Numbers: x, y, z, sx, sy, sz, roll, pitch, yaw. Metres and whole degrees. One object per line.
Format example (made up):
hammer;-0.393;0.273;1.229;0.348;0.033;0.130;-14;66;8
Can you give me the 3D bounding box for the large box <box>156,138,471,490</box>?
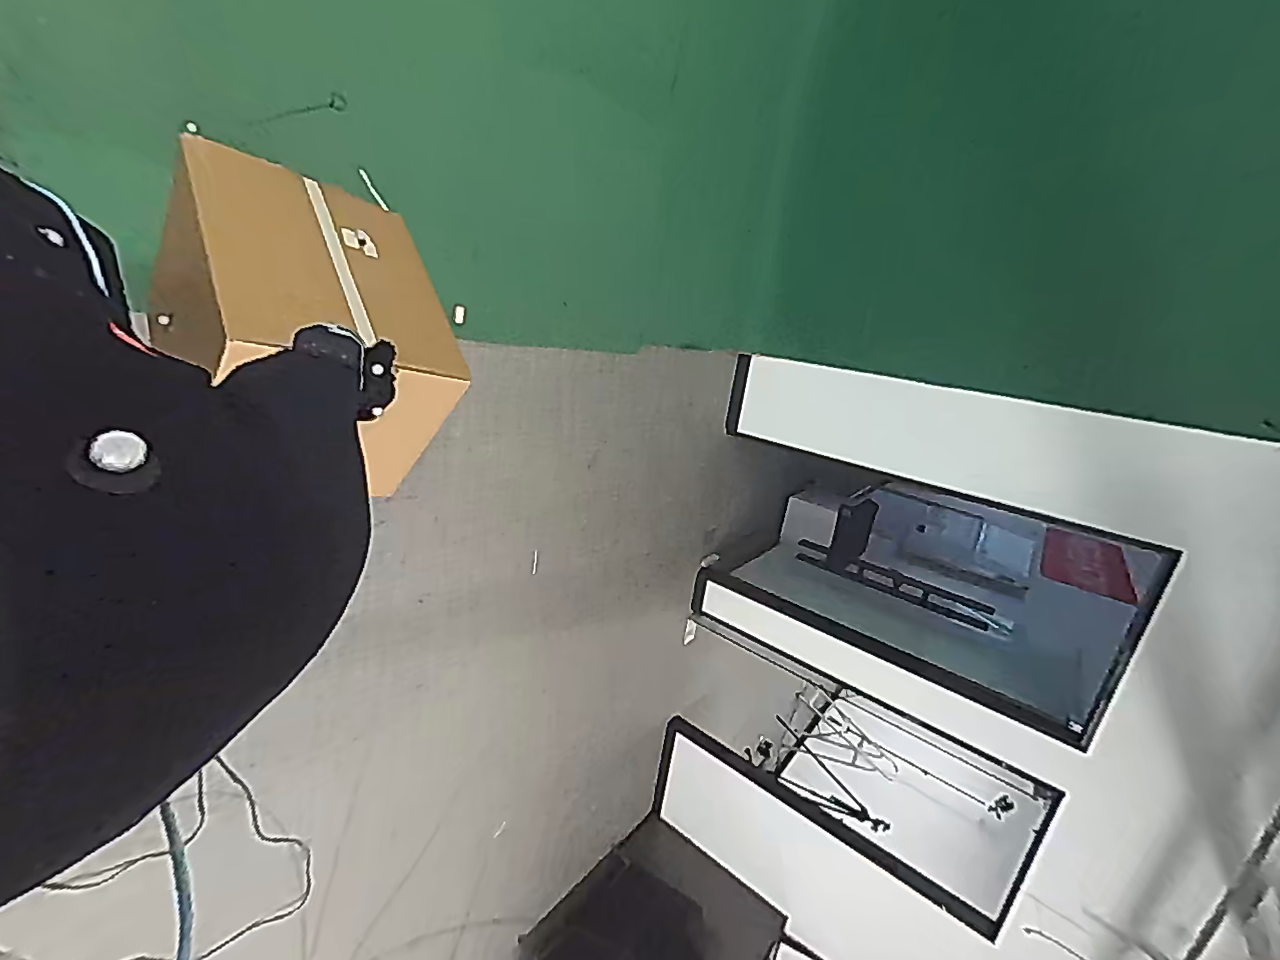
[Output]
large box;-0.539;-0.231;0.876;0.320;0.408;0.320;-42;154;30
